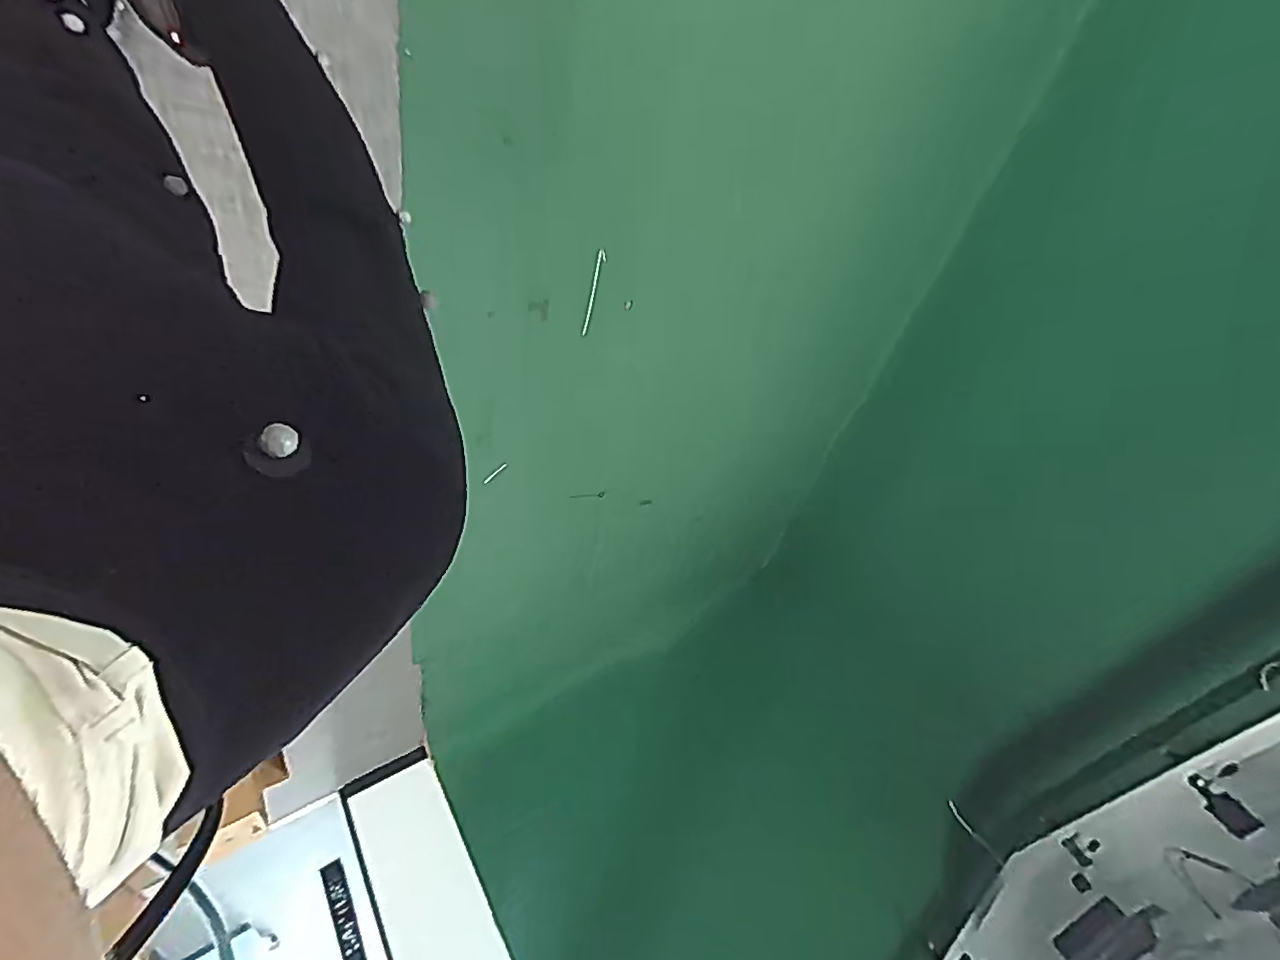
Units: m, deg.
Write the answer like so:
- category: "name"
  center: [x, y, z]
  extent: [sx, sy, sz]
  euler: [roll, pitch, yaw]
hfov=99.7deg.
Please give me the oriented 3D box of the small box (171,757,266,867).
- category: "small box"
  center: [-1.163, 0.910, 1.492]
  extent: [0.179, 0.176, 0.168]
  euler: [-15, 138, -34]

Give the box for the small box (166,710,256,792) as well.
- category: "small box"
  center: [-1.255, 0.809, 1.584]
  extent: [0.179, 0.176, 0.168]
  euler: [-13, 137, -34]

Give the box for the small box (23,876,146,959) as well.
- category: "small box"
  center: [-1.279, 1.065, 1.249]
  extent: [0.168, 0.176, 0.179]
  euler: [-13, 138, -36]
